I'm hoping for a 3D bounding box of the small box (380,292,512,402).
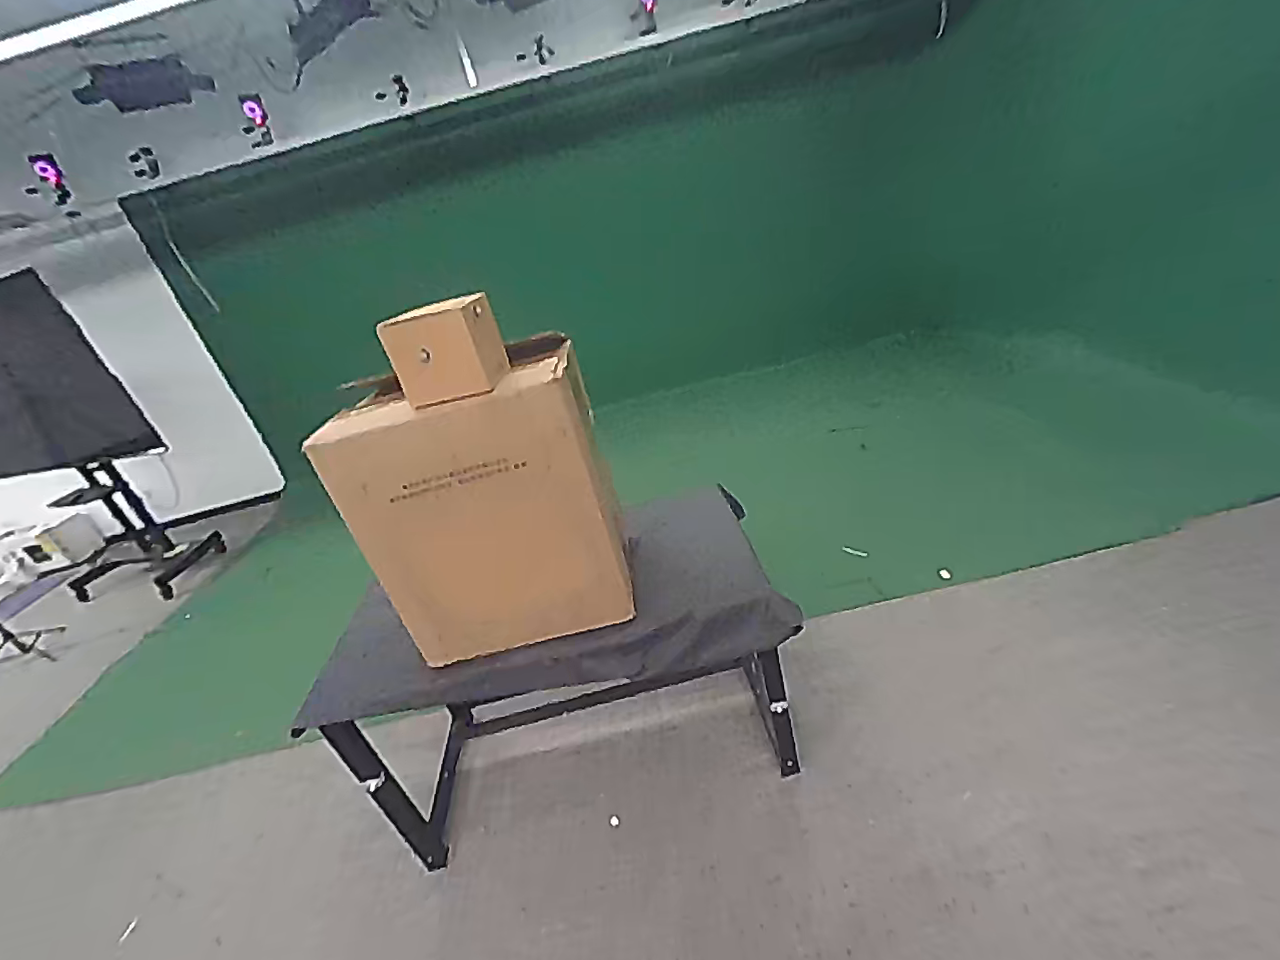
[{"bbox_3d":[-0.390,-0.274,1.119,0.179,0.176,0.168,-11,27,8],"label":"small box"}]
